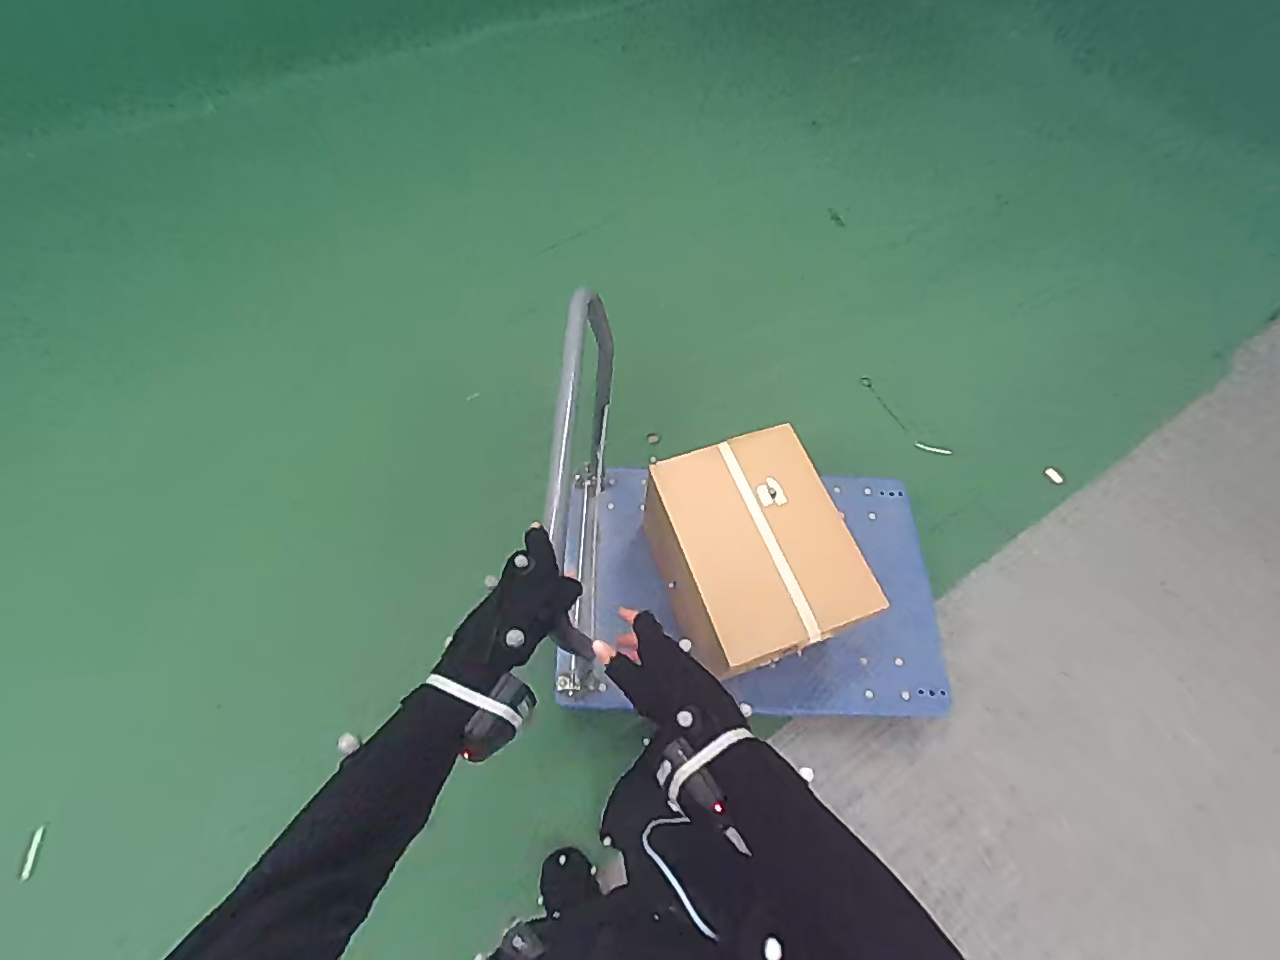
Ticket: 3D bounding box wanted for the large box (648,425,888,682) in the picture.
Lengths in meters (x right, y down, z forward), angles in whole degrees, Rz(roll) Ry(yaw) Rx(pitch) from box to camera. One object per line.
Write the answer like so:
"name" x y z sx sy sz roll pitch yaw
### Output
"large box" 0.228 0.162 1.140 0.320 0.320 0.408 -16 65 -10
